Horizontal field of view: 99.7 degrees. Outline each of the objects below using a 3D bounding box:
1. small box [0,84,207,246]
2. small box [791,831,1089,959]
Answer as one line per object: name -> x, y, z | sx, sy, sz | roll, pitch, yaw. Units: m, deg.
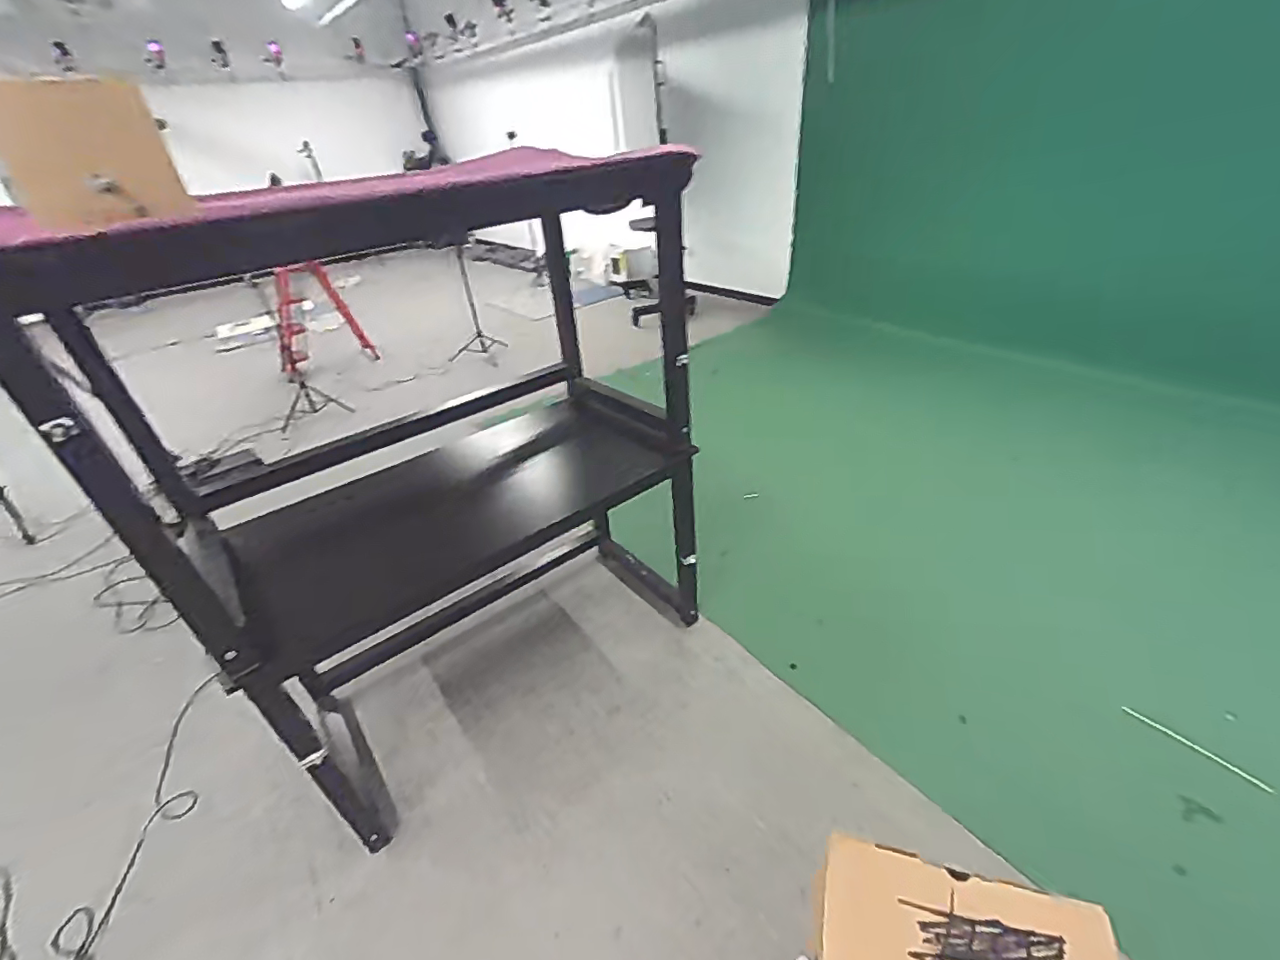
small box -> -0.727, -0.422, 0.734 | 0.168, 0.176, 0.179 | -27, 38, -29
small box -> 0.189, 0.381, 0.370 | 0.168, 0.176, 0.179 | 6, 48, 18
